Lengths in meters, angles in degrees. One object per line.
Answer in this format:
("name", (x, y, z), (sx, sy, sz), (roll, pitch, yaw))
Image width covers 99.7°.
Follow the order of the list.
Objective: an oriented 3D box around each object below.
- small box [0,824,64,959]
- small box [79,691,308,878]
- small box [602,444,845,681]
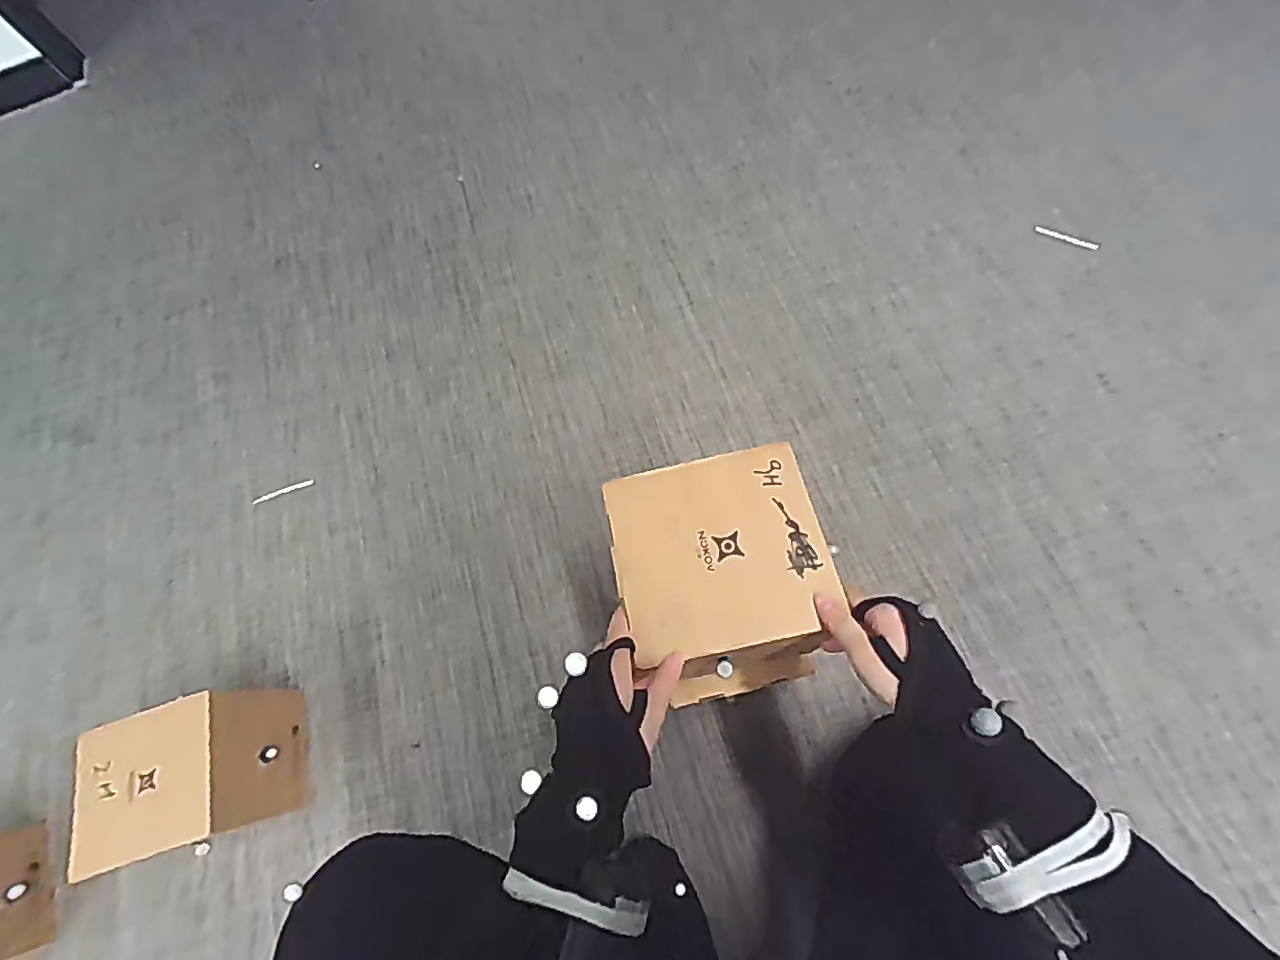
("small box", (-0.920, 0.588, 0.700), (0.179, 0.176, 0.168), (-30, 68, -5))
("small box", (-0.576, 0.389, 0.725), (0.179, 0.176, 0.168), (-19, 67, 1))
("small box", (0.074, 0.091, 0.527), (0.179, 0.176, 0.168), (-13, 64, 2))
